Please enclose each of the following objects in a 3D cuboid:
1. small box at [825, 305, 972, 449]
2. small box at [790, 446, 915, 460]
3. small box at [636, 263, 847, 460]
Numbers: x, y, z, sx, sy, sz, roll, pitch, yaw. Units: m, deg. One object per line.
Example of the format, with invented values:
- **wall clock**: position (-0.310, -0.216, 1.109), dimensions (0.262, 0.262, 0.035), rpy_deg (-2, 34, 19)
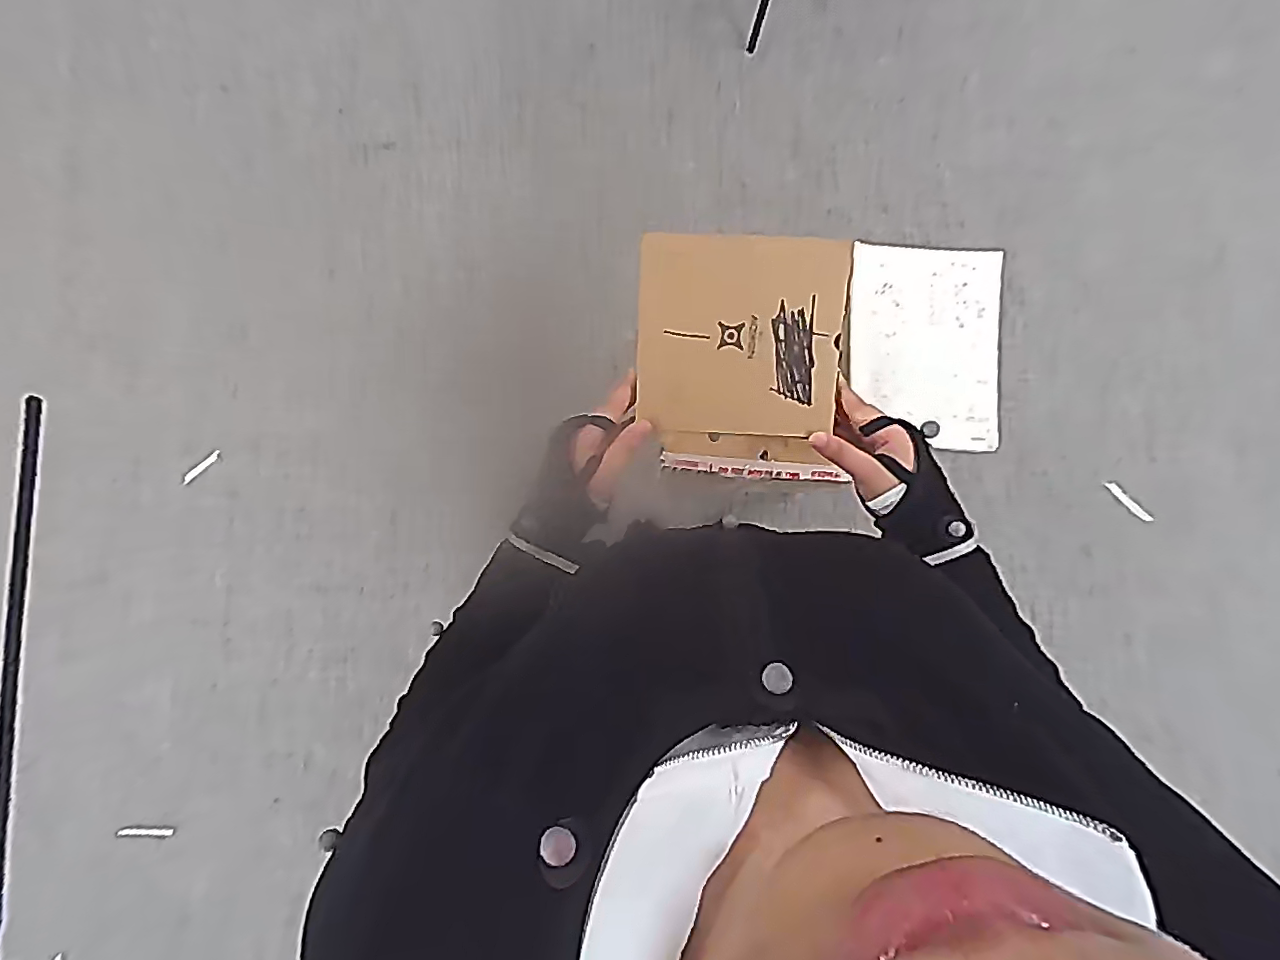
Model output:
- **small box**: position (0.367, -0.146, 0.815), dimensions (0.168, 0.176, 0.179), rpy_deg (0, 86, -1)
- **small box**: position (0.368, -0.127, 0.978), dimensions (0.179, 0.176, 0.168), rpy_deg (-2, 86, 0)
- **small box**: position (0.089, -0.120, 0.557), dimensions (0.179, 0.176, 0.168), rpy_deg (3, 102, 2)
